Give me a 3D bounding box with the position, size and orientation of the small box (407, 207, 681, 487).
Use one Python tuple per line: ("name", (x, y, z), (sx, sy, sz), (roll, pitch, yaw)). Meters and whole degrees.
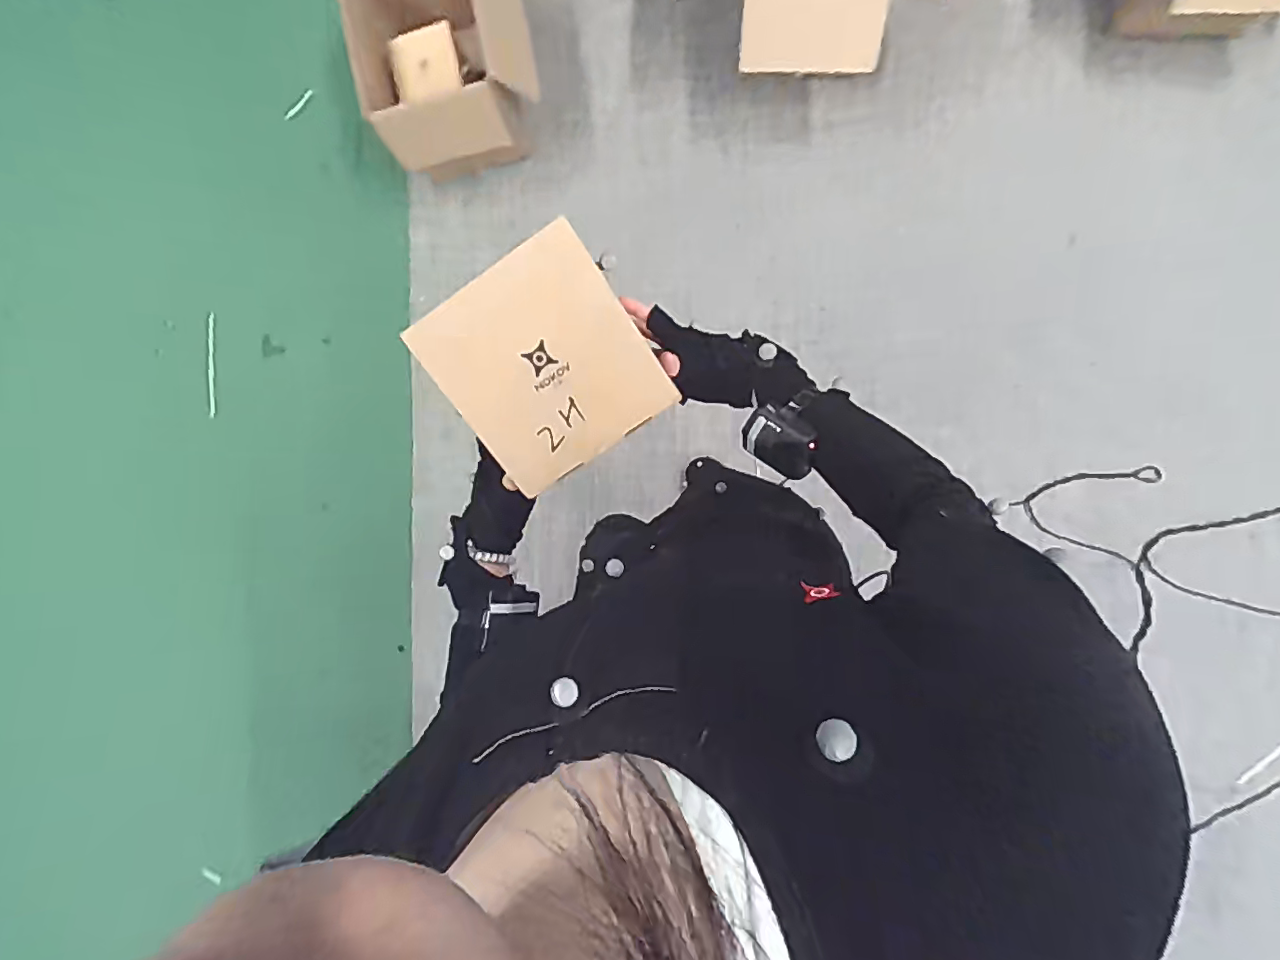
("small box", (-0.081, -0.124, 0.524), (0.168, 0.176, 0.179), (-31, 106, 7))
